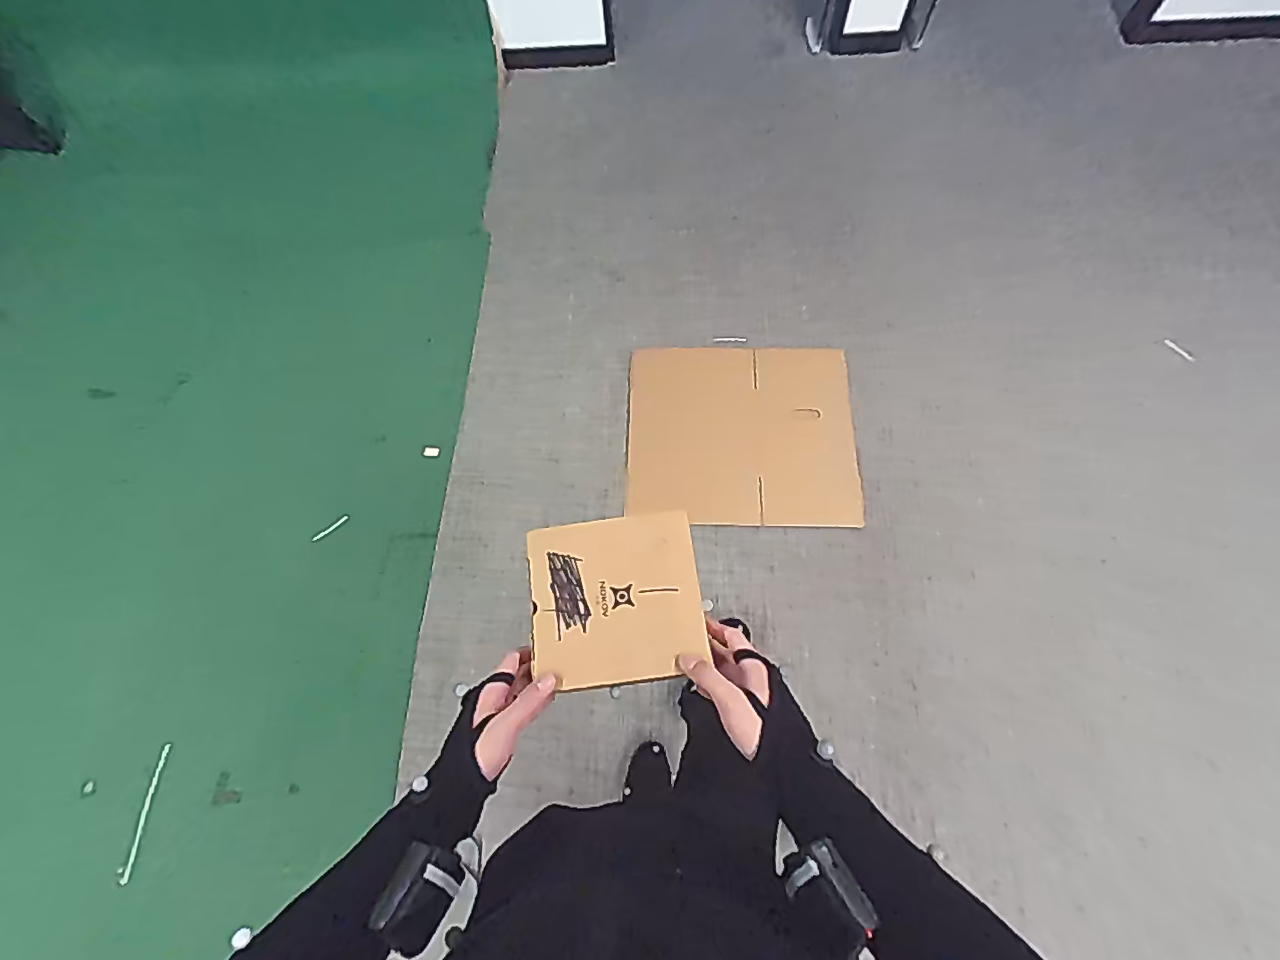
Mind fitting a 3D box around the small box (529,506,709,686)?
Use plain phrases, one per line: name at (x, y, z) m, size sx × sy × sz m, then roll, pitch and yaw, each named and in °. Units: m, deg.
small box at (-0.019, 0.143, 0.627) m, size 0.179 × 0.176 × 0.168 m, roll -8°, pitch 69°, yaw 2°
